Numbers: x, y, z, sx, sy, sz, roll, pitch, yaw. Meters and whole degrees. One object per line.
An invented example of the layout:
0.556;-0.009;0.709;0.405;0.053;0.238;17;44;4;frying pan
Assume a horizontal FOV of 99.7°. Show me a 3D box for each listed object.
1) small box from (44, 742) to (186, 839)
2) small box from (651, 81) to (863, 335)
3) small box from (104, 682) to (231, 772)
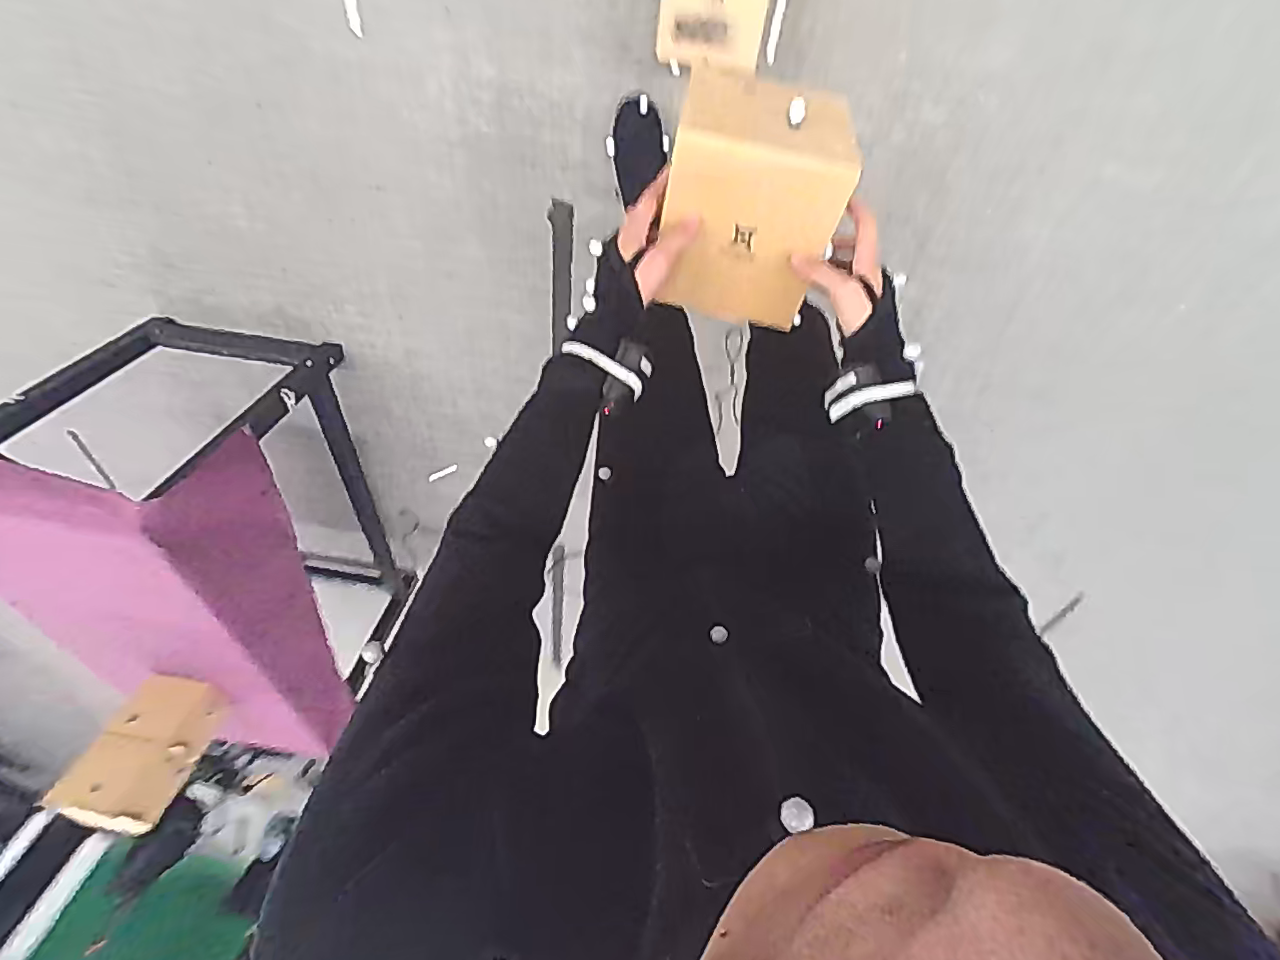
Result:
-1.339;0.801;1.402;0.179;0.176;0.168;7;132;6;small box
0.112;-0.289;0.576;0.168;0.176;0.179;10;144;-1;small box
-1.316;0.691;1.521;0.179;0.176;0.168;9;133;2;small box
